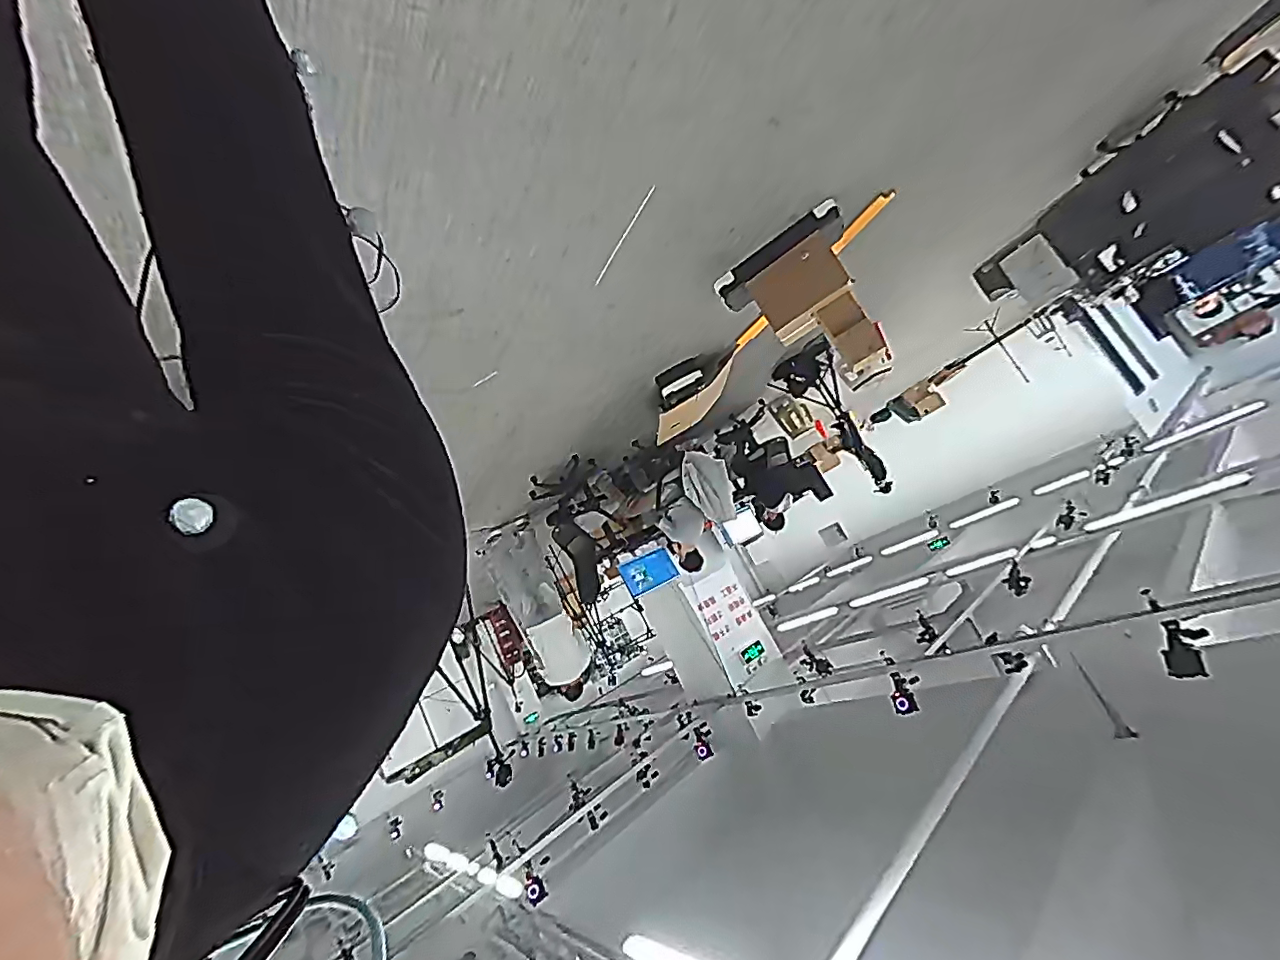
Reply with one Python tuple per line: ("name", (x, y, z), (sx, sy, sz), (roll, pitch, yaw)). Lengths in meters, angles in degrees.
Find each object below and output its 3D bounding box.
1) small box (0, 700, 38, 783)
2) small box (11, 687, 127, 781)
("small box", (-1.568, 0.633, 1.239), (0.179, 0.176, 0.168), (-28, 170, -6))
("small box", (-1.564, 0.678, 1.467), (0.168, 0.176, 0.179), (-24, 169, -24))
